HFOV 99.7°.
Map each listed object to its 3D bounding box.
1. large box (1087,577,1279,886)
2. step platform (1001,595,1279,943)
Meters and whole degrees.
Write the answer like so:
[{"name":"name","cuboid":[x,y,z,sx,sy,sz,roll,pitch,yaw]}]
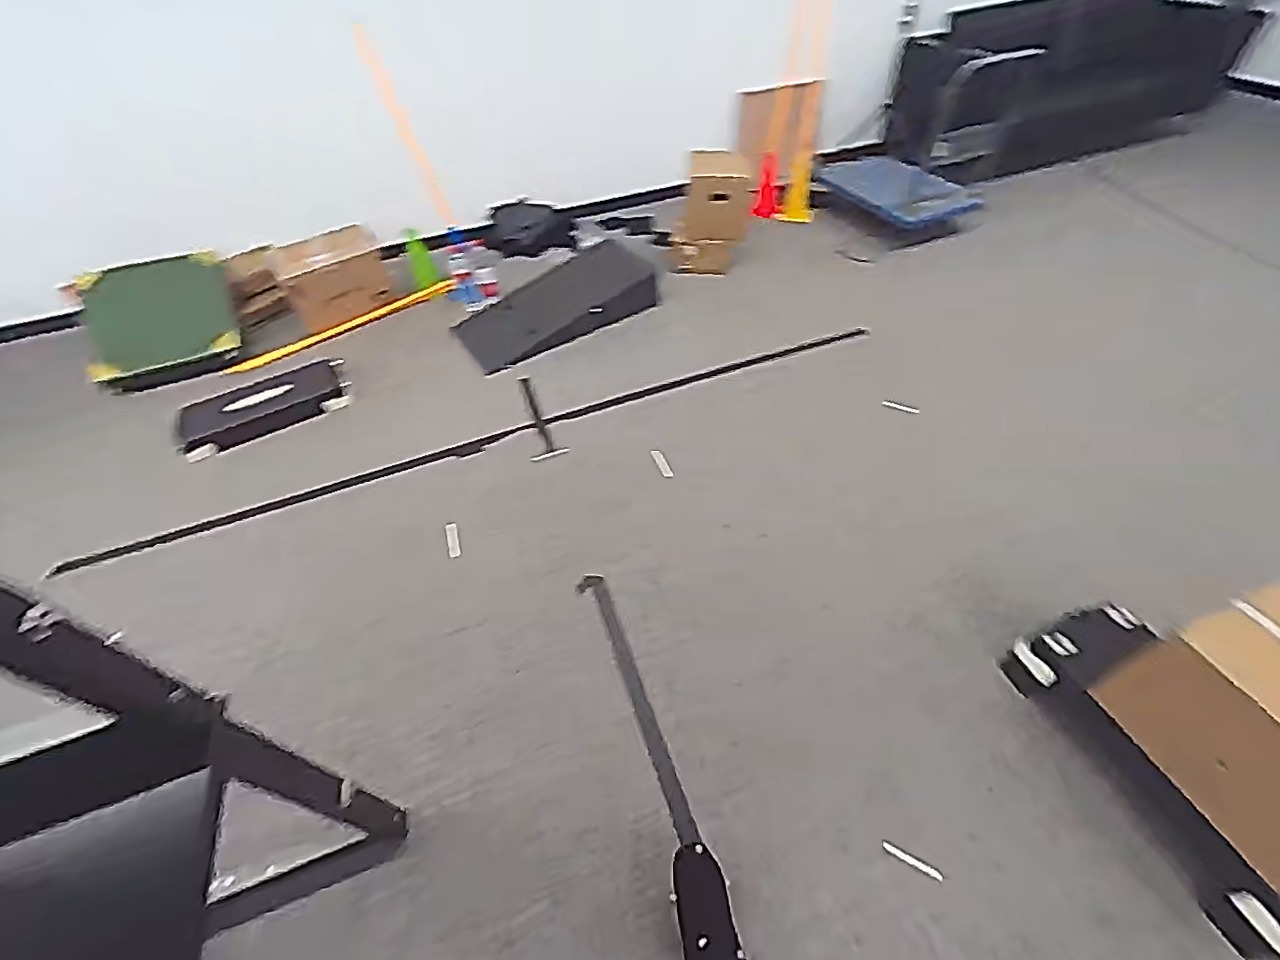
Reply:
[{"name":"large box","cuboid":[1.220,0.471,1.033,0.320,0.320,0.408,-18,47,-12]},{"name":"step platform","cuboid":[1.199,0.602,1.239,0.286,0.204,0.684,-14,47,-8]}]
